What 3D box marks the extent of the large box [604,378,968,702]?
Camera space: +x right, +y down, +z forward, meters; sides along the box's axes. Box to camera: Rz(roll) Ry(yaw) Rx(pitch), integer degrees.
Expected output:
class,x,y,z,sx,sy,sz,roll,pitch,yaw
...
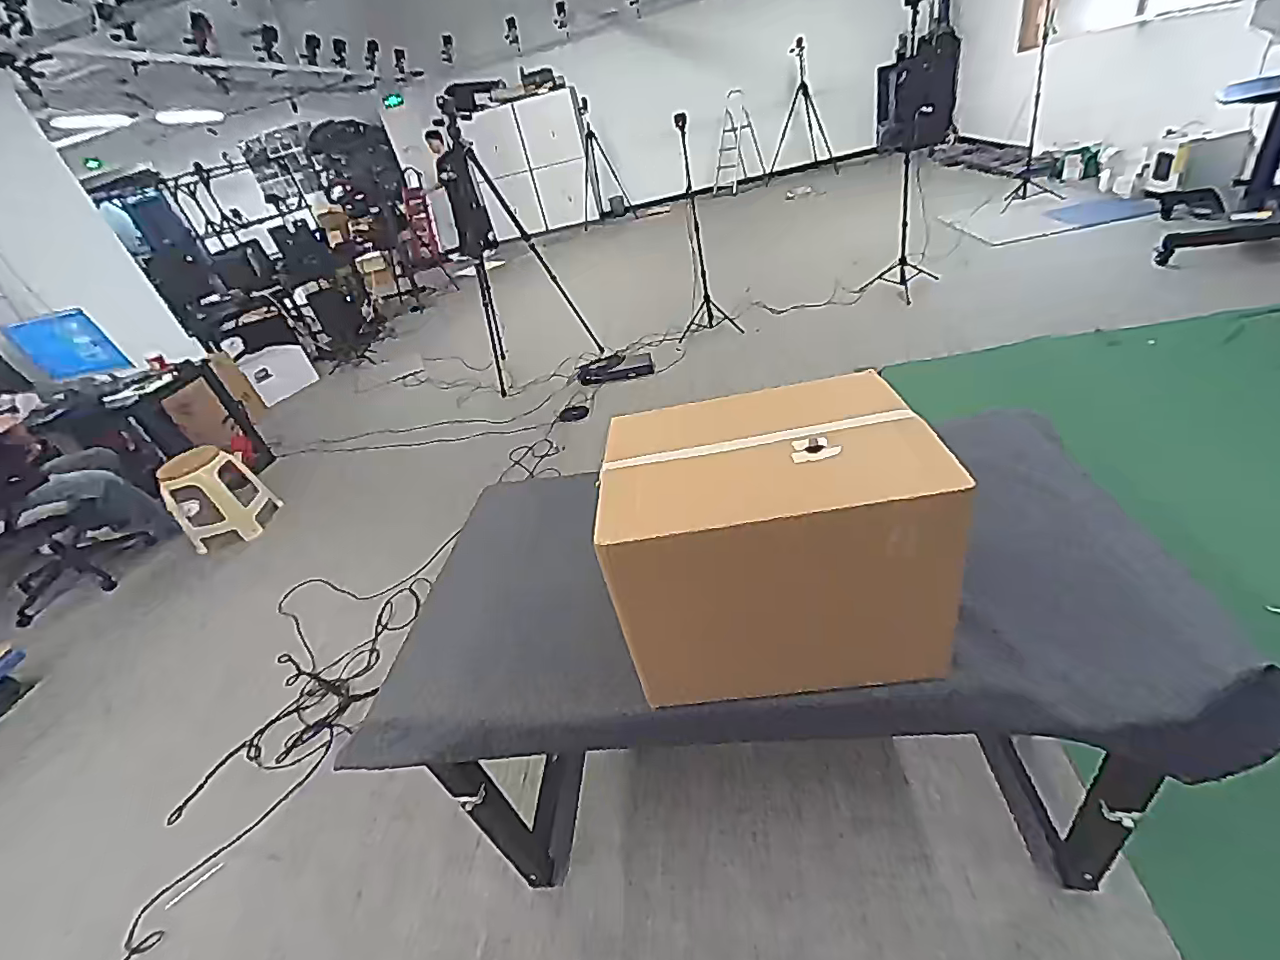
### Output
class,x,y,z,sx,sy,sz,roll,pitch,yaw
large box,0.180,0.083,0.788,0.408,0.320,0.320,-9,33,7
